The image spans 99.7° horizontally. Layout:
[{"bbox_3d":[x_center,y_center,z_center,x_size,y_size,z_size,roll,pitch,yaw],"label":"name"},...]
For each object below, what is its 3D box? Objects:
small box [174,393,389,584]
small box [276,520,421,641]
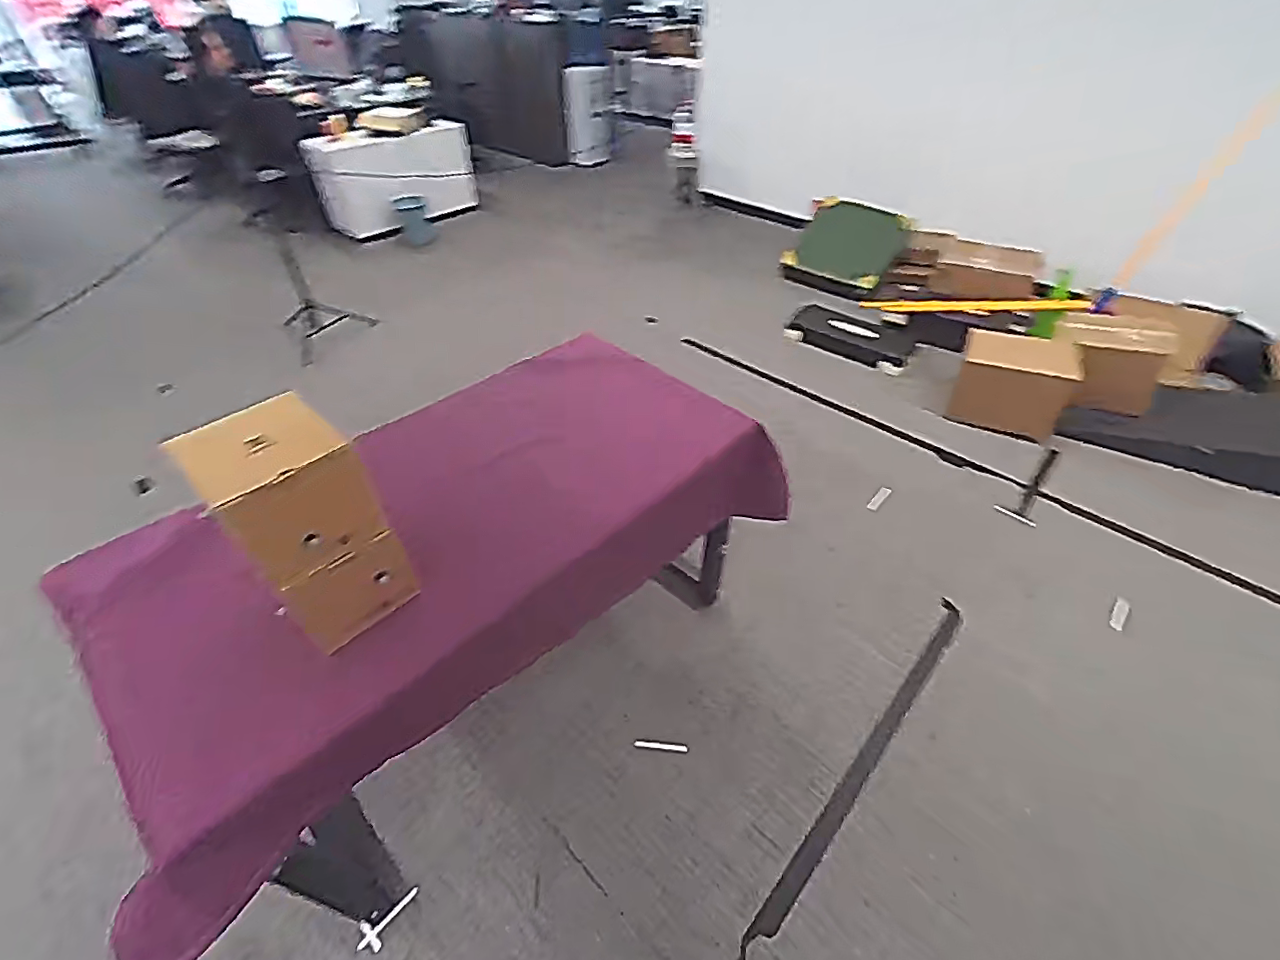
[{"bbox_3d":[-0.487,0.012,0.755,0.179,0.176,0.168,32,51,27],"label":"small box"},{"bbox_3d":[-0.482,0.130,0.866,0.179,0.176,0.168,33,52,30],"label":"small box"}]
